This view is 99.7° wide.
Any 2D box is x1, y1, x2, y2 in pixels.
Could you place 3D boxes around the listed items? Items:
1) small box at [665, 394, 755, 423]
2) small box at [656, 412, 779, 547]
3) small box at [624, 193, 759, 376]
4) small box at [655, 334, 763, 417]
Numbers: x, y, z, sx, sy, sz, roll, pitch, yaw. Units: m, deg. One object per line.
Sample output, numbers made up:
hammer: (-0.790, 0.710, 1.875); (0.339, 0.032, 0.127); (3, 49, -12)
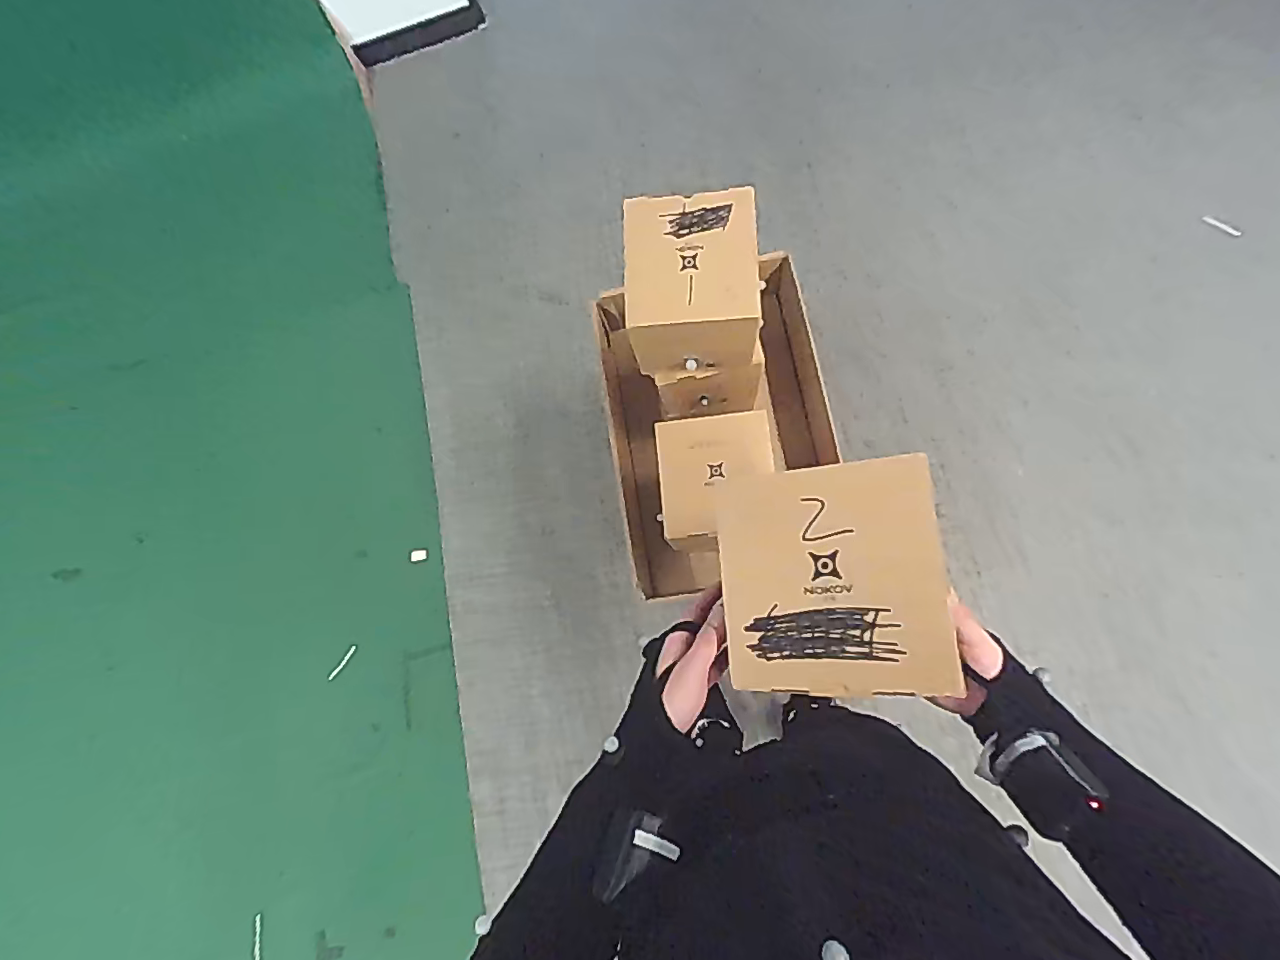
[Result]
small box: (0.124, -0.197, 1.063); (0.168, 0.176, 0.179); (-12, 78, 7)
small box: (0.121, 0.010, 0.848); (0.168, 0.176, 0.179); (-6, 76, 7)
small box: (0.071, -0.258, 0.747); (0.168, 0.176, 0.179); (-2, 80, 8)
small box: (0.100, -0.225, 0.905); (0.168, 0.176, 0.179); (-12, 79, 6)
